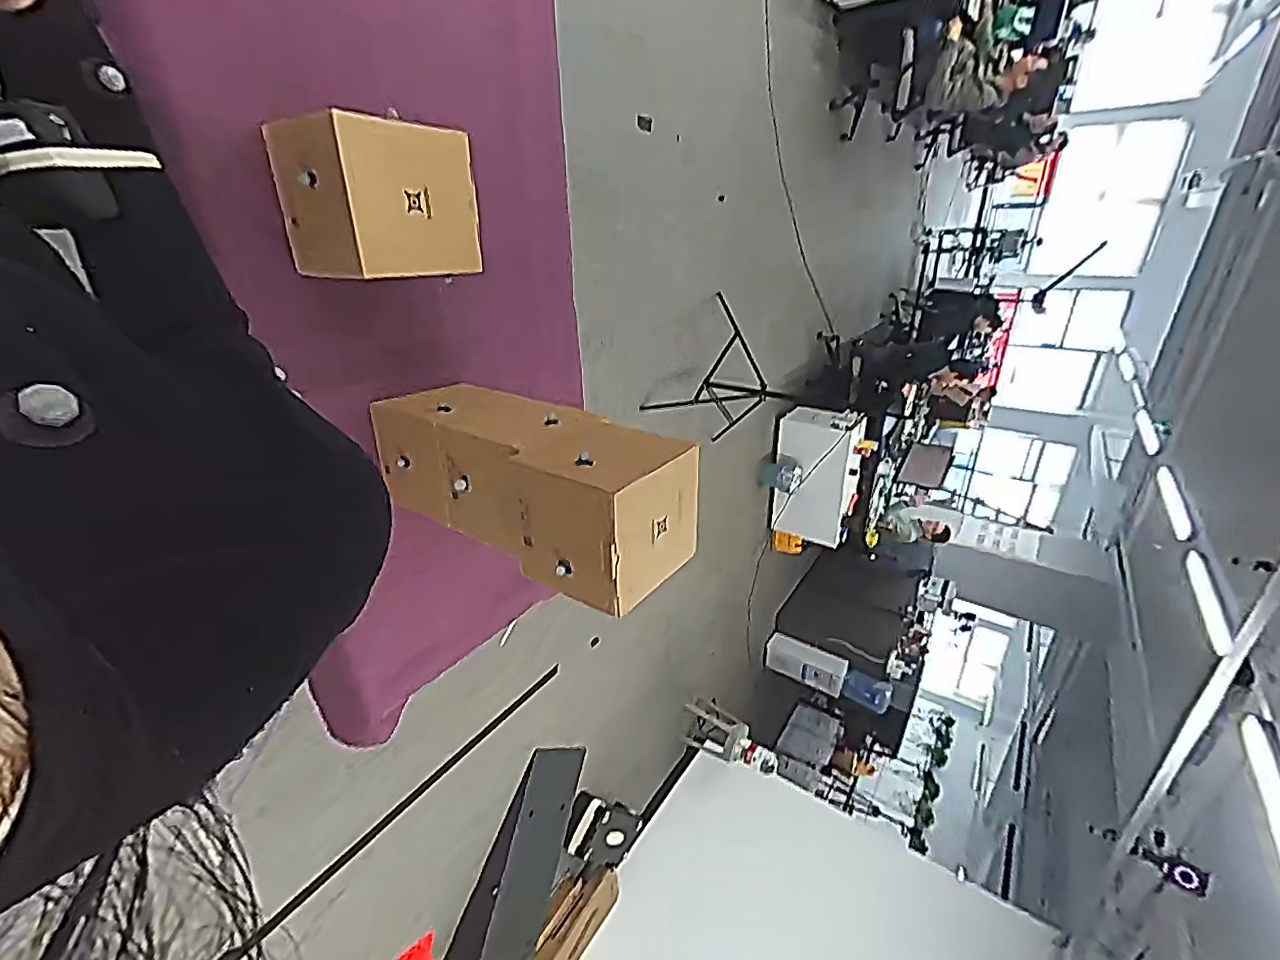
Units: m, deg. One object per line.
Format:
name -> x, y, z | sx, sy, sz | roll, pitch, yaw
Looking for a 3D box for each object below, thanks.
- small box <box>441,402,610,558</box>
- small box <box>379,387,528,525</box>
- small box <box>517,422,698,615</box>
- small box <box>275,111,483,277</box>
small box -> -0.161, -0.010, 0.795 | 0.179, 0.176, 0.168 | -28, 125, -49
small box -> -0.298, -0.049, 0.878 | 0.179, 0.176, 0.168 | -28, 127, -50
small box -> -0.041, 0.036, 0.693 | 0.179, 0.176, 0.168 | -33, 130, -47
small box -> -0.333, -0.352, 0.695 | 0.179, 0.176, 0.168 | -31, 128, -49
